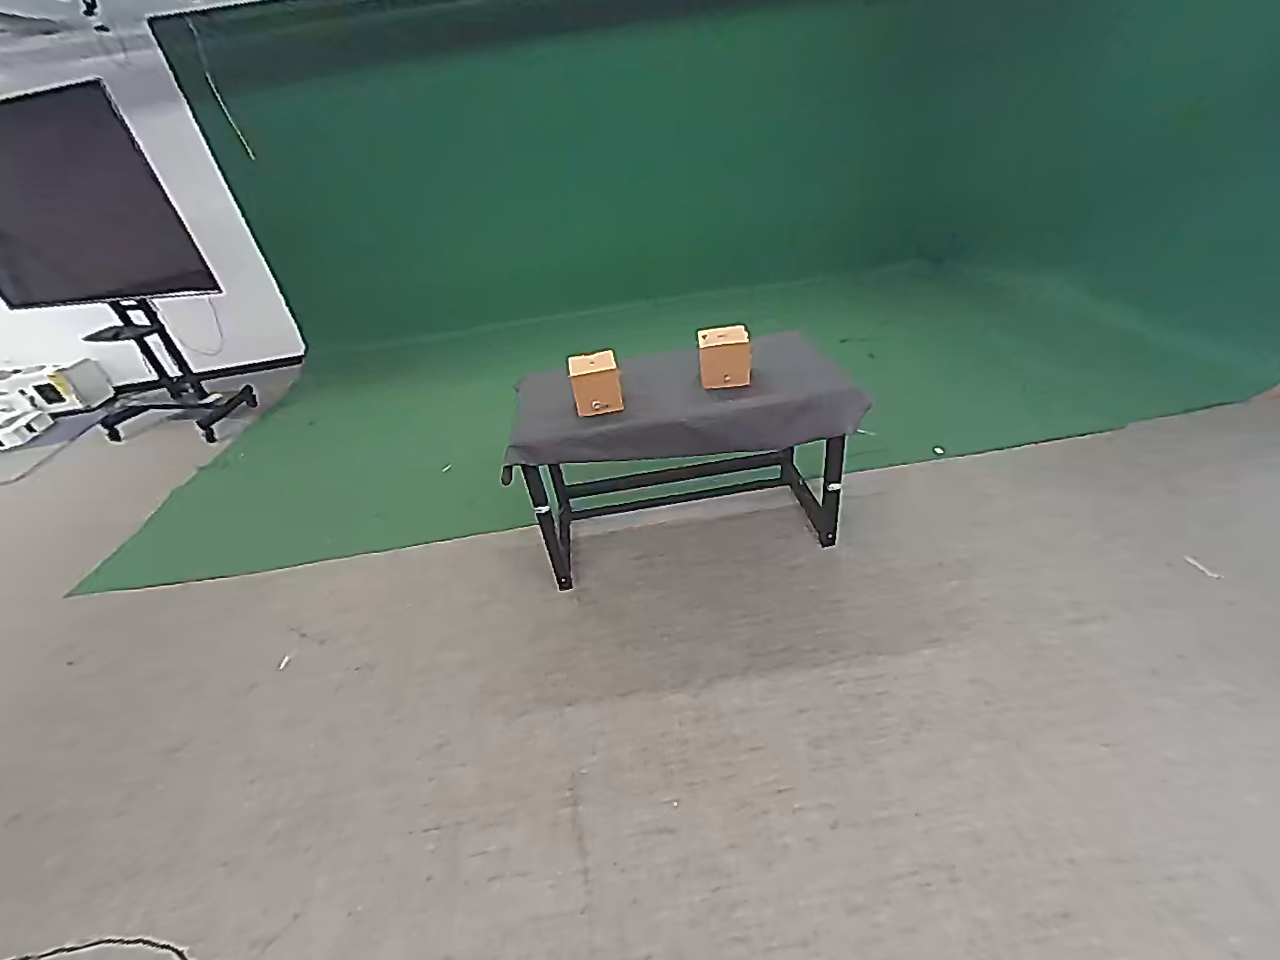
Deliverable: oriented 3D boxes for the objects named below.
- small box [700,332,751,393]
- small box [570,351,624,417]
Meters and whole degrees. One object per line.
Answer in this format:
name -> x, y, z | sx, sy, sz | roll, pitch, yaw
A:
small box -> 0.316, -0.436, 2.012 | 0.179, 0.176, 0.168 | -4, 35, 6
small box -> -0.156, -0.350, 1.962 | 0.168, 0.176, 0.179 | -11, 34, 0
